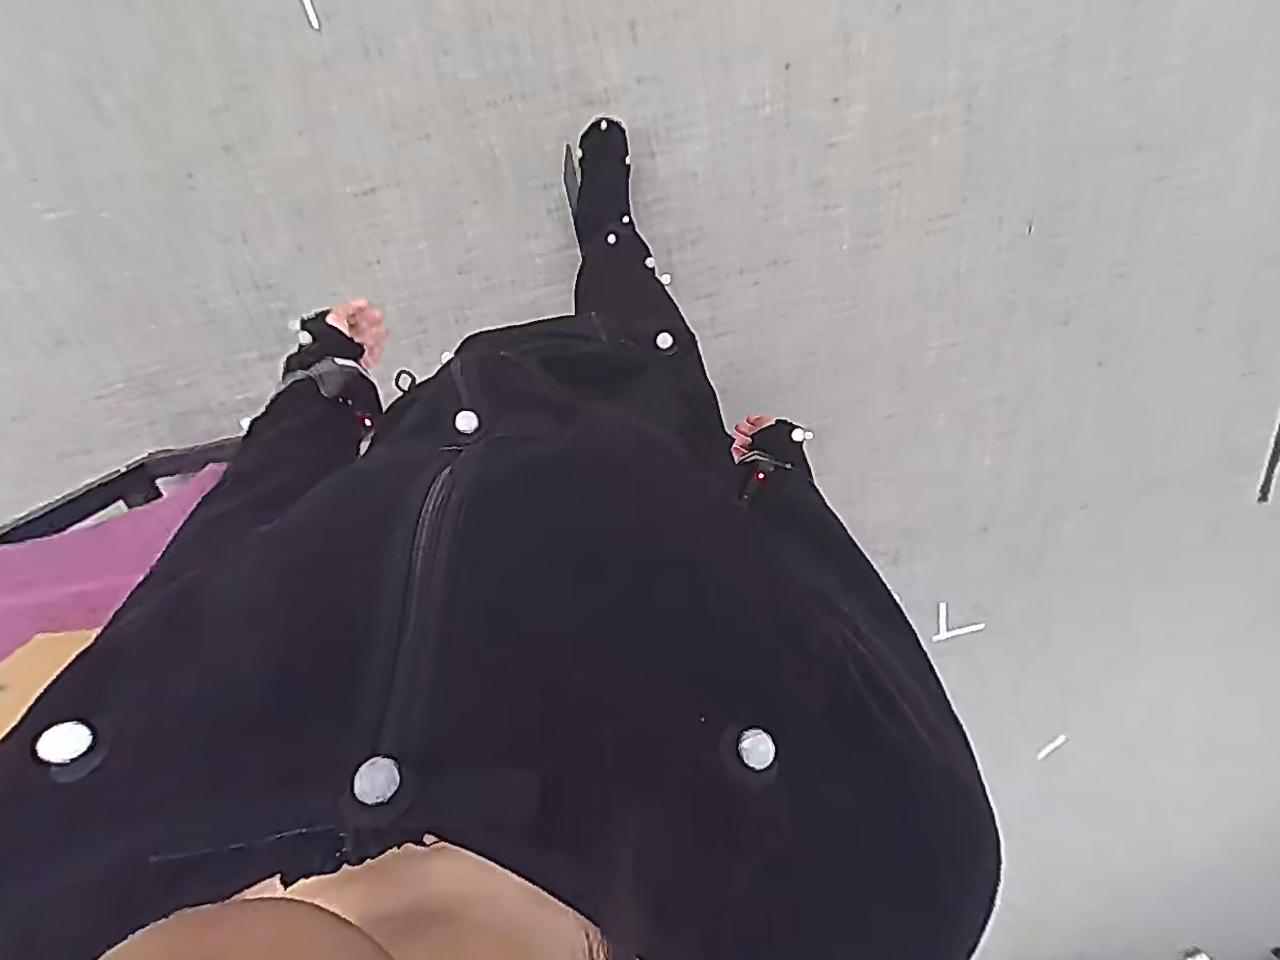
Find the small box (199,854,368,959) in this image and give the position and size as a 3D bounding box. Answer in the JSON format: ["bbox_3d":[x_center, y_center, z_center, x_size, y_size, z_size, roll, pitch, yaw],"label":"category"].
[{"bbox_3d":[-0.572,0.746,0.877,0.179,0.176,0.168,-14,116,2],"label":"small box"}]
